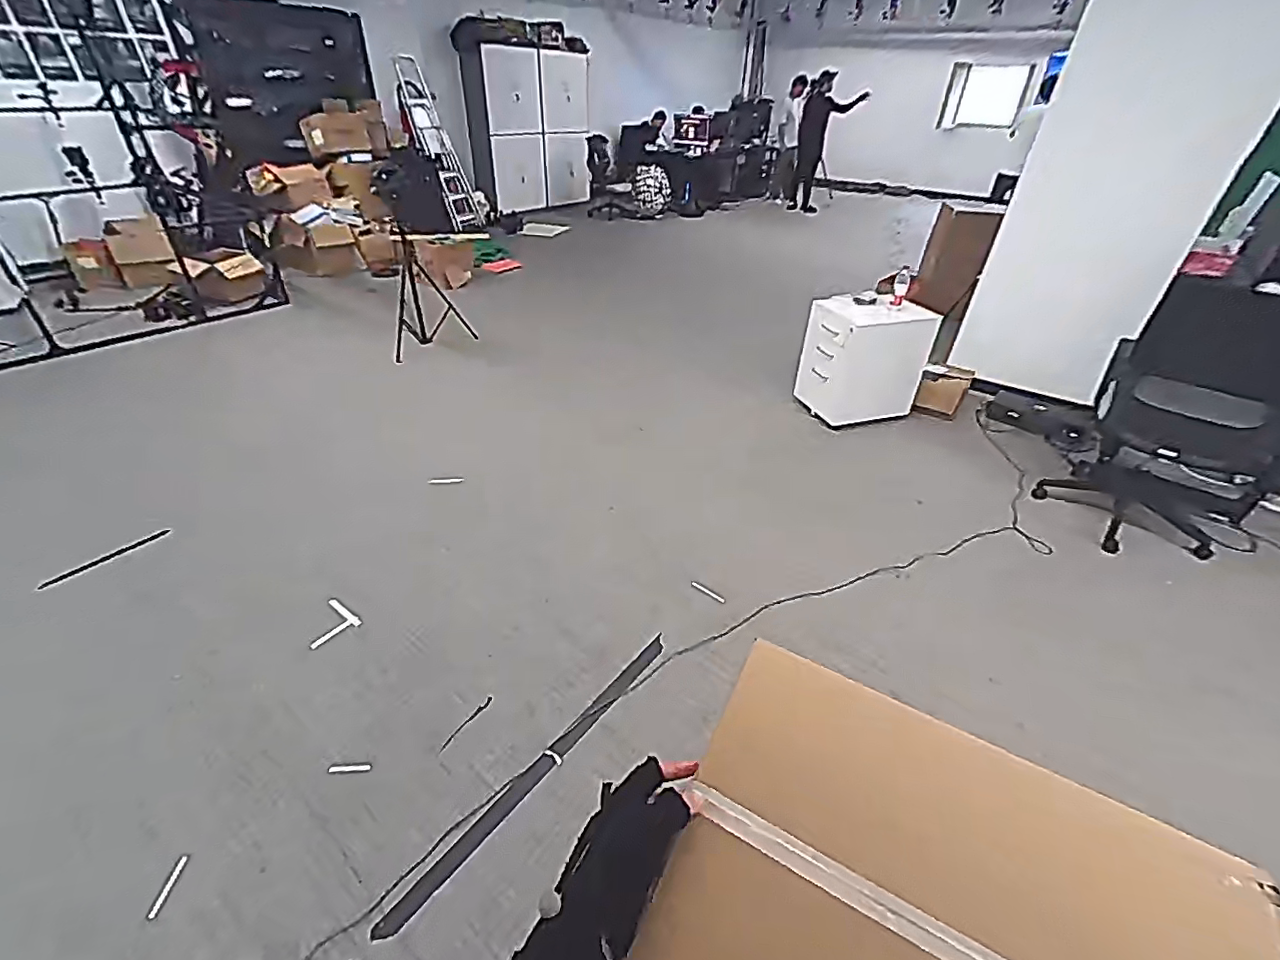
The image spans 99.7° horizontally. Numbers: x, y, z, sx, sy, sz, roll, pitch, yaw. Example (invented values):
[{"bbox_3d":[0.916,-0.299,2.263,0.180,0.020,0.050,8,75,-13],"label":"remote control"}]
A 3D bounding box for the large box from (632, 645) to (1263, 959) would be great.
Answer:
[{"bbox_3d":[0.235,0.432,0.522,0.408,0.320,0.320,22,56,21],"label":"large box"}]
